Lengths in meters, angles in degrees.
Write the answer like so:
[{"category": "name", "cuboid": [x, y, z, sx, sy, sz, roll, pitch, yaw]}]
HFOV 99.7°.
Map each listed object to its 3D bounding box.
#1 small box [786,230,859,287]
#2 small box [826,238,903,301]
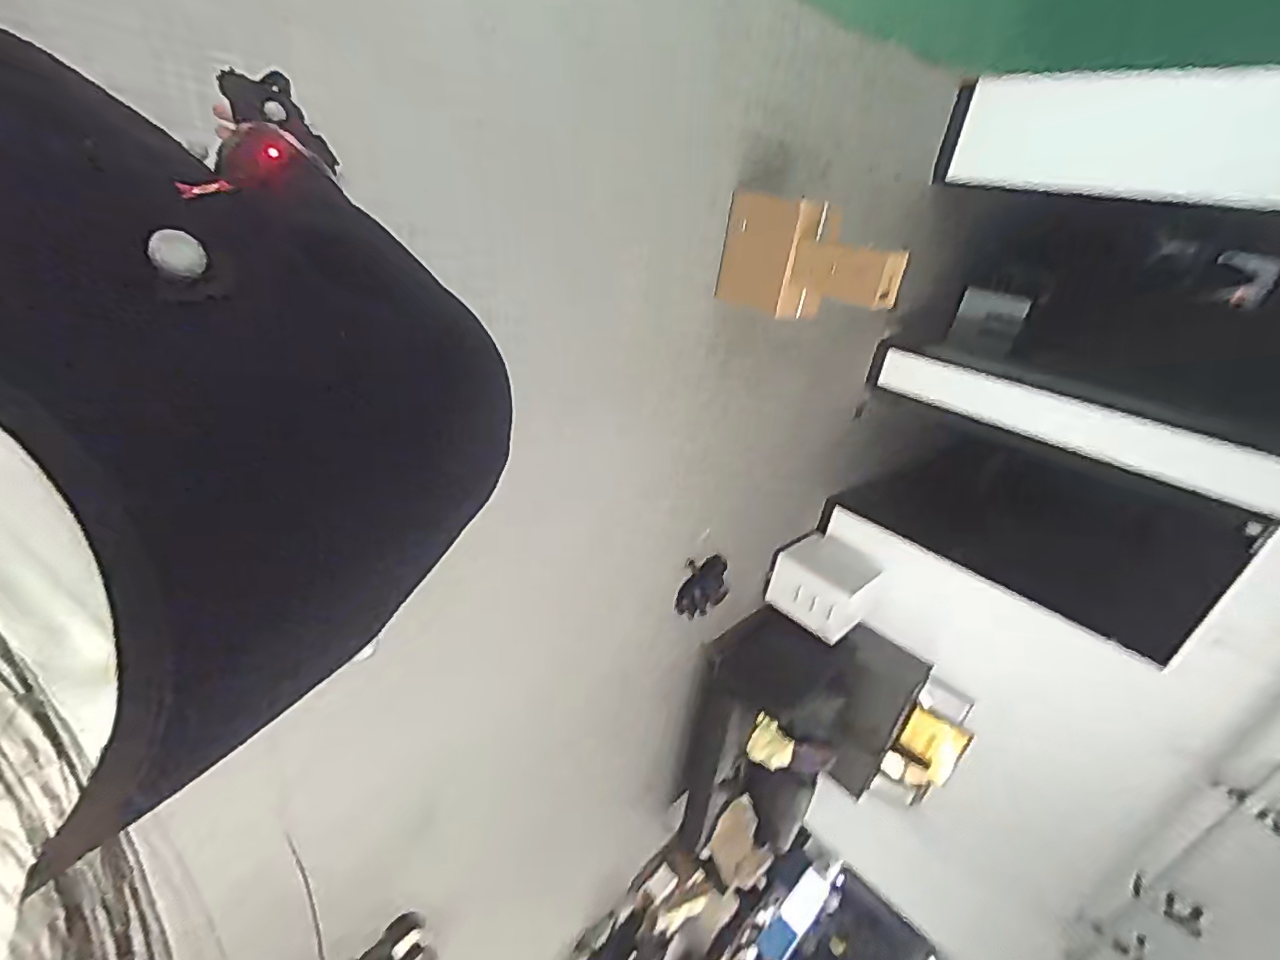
[{"category": "small box", "cuboid": [0.658, -0.807, 1.966, 0.179, 0.176, 0.168, -22, 131, -37]}, {"category": "small box", "cuboid": [0.769, -0.729, 1.871, 0.168, 0.176, 0.179, -20, 128, -40]}]
